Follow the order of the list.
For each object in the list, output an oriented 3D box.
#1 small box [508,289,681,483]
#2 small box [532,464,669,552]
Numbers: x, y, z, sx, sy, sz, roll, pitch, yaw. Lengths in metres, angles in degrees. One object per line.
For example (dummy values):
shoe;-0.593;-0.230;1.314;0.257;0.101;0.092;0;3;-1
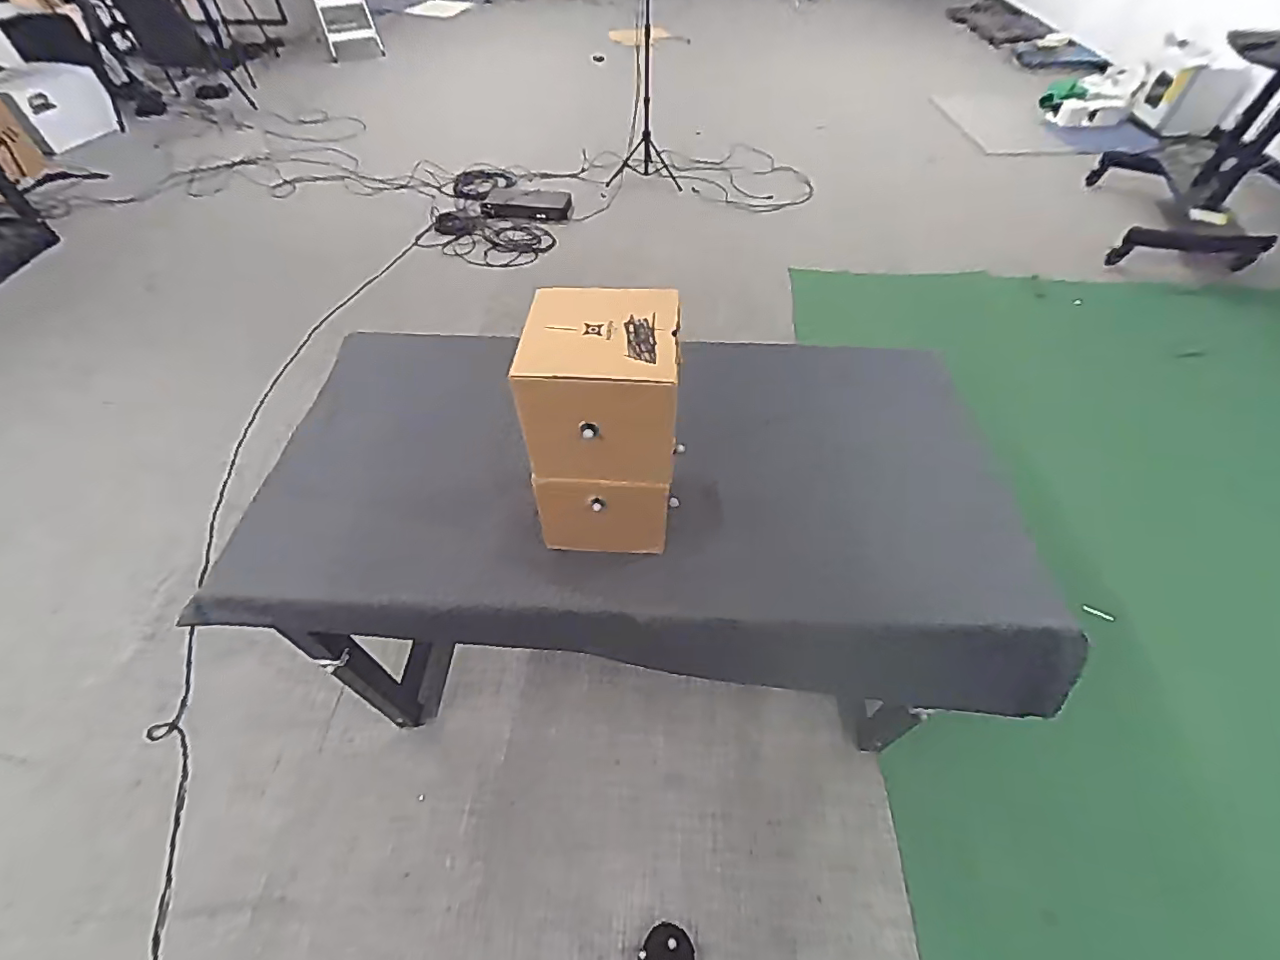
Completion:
small box;-0.043;-0.110;0.664;0.179;0.176;0.168;3;52;3
small box;-0.047;-0.007;0.792;0.179;0.176;0.168;3;52;1
